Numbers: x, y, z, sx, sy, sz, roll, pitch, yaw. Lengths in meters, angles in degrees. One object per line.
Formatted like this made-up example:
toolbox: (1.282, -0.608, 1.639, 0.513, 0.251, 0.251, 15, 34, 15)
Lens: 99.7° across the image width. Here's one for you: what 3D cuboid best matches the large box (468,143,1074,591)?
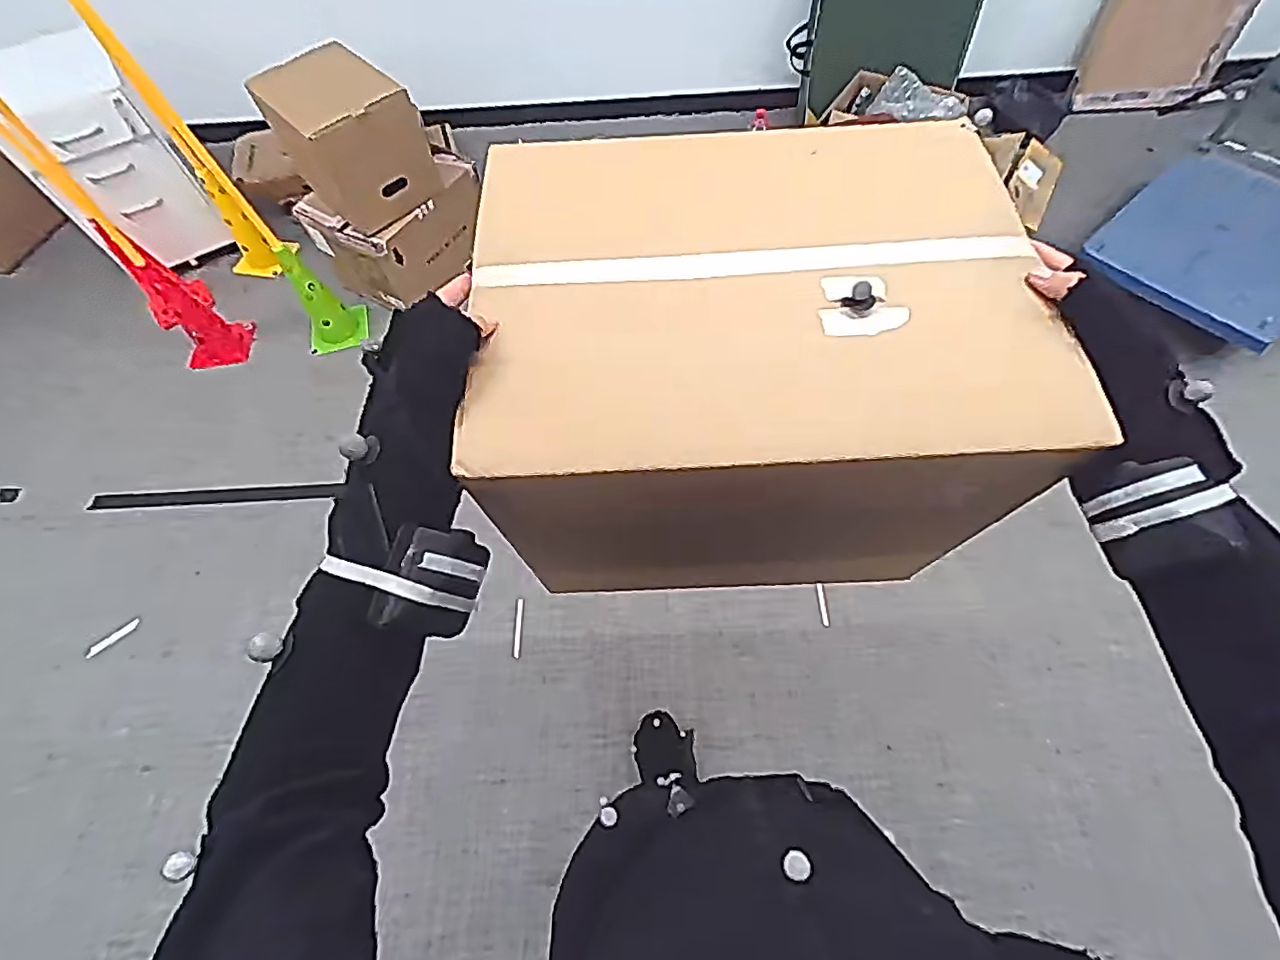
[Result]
large box: (0.079, -0.086, 0.546, 0.408, 0.320, 0.320, -3, 65, 1)
